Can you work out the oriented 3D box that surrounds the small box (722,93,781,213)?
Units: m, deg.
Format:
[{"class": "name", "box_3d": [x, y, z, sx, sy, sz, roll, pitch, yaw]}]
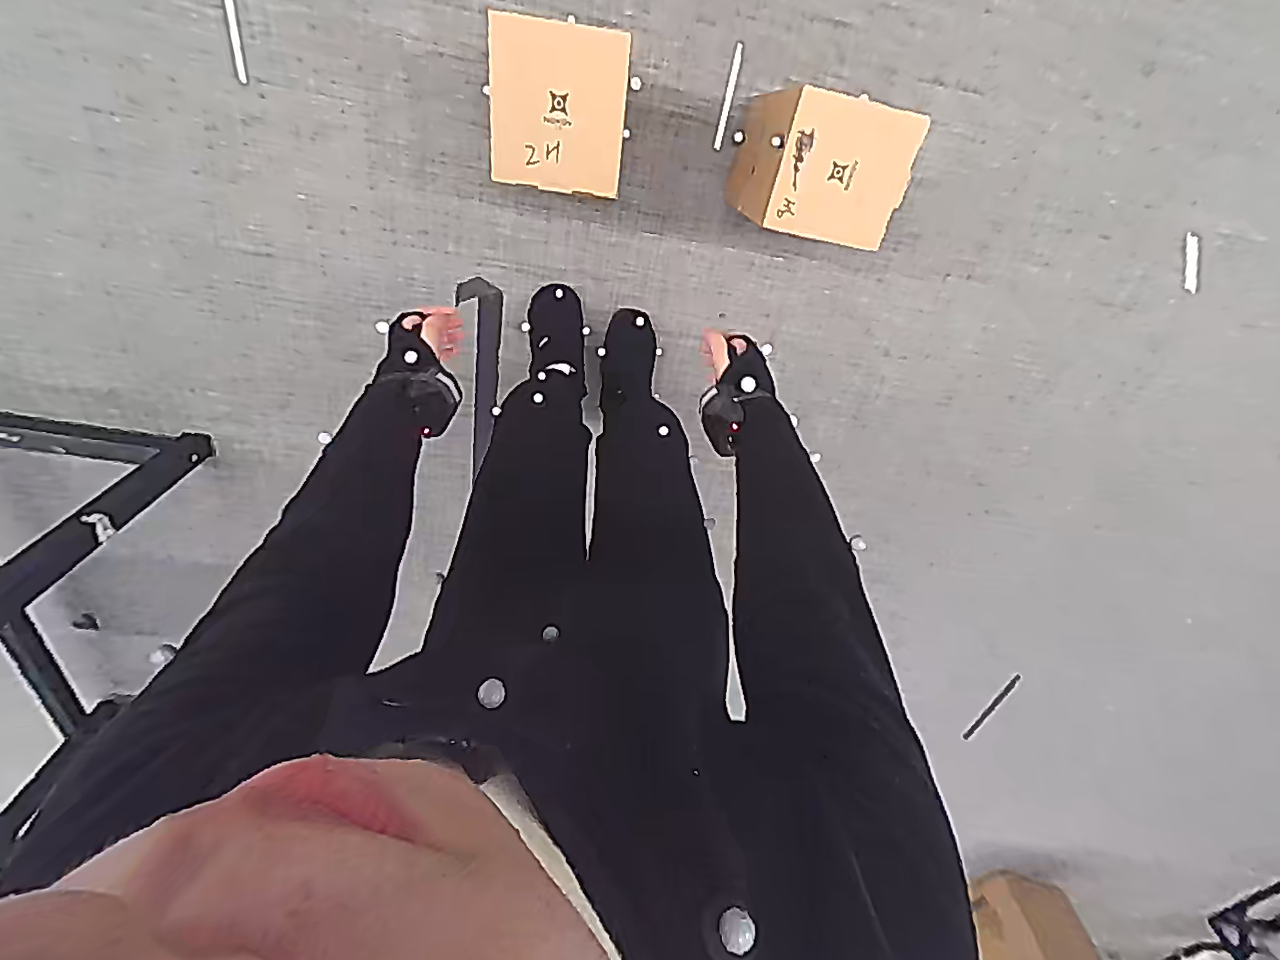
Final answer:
[{"class": "small box", "box_3d": [0.255, -0.529, 0.909, 0.179, 0.176, 0.168, 11, 122, -9]}]

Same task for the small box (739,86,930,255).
[{"class": "small box", "box_3d": [0.260, -0.440, 0.772, 0.179, 0.176, 0.168, 9, 122, -9]}]

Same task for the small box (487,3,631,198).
[{"class": "small box", "box_3d": [-0.106, -0.492, 0.718, 0.168, 0.176, 0.179, 5, 124, -6]}]
